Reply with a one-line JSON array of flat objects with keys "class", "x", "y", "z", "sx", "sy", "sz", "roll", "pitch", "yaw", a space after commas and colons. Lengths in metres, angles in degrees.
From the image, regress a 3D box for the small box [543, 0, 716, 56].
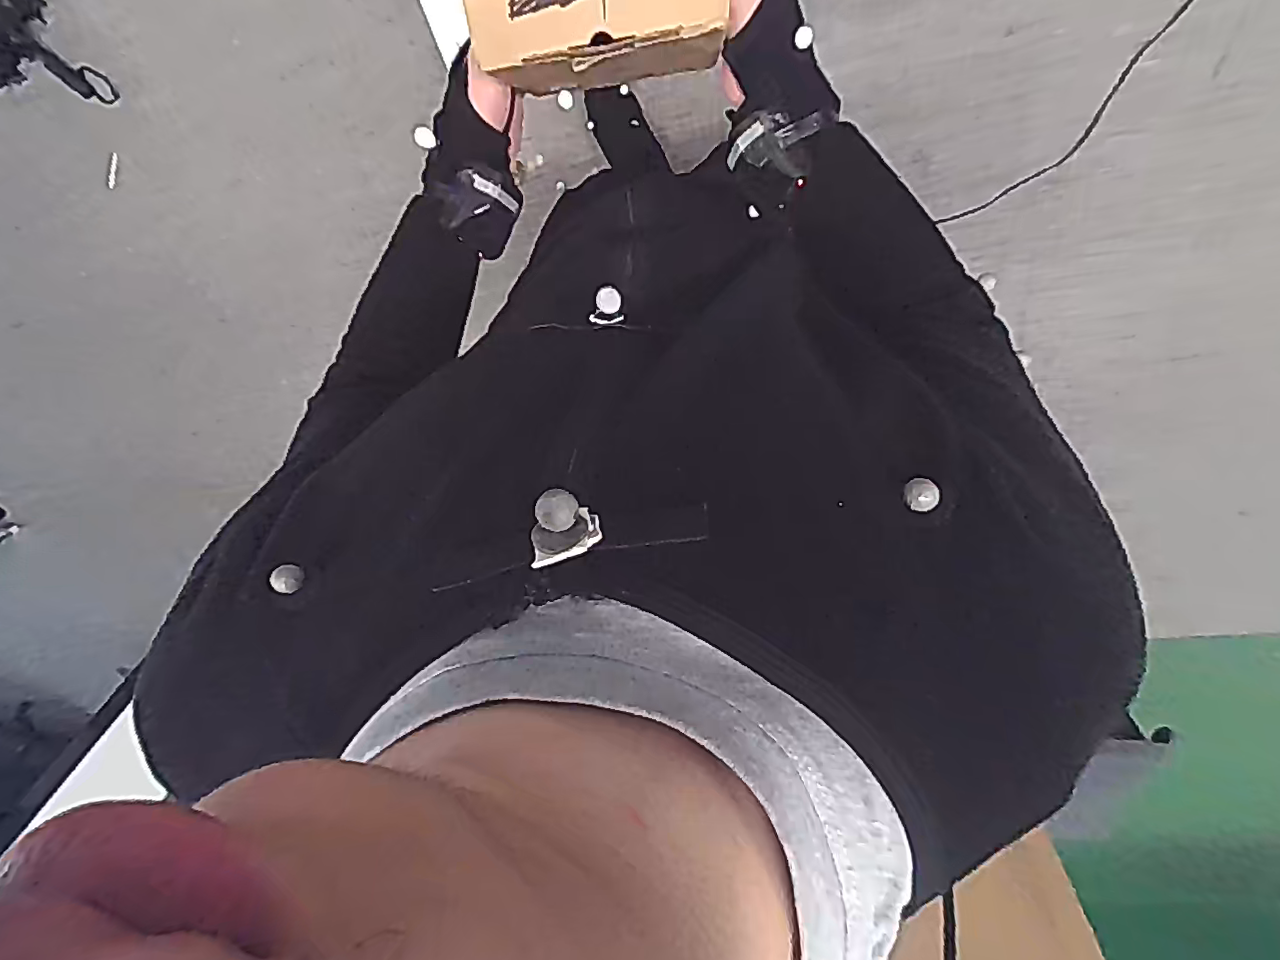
[{"class": "small box", "x": -0.022, "y": -0.555, "z": 0.539, "sx": 0.168, "sy": 0.176, "sz": 0.179, "roll": -11, "pitch": 126, "yaw": 13}]
